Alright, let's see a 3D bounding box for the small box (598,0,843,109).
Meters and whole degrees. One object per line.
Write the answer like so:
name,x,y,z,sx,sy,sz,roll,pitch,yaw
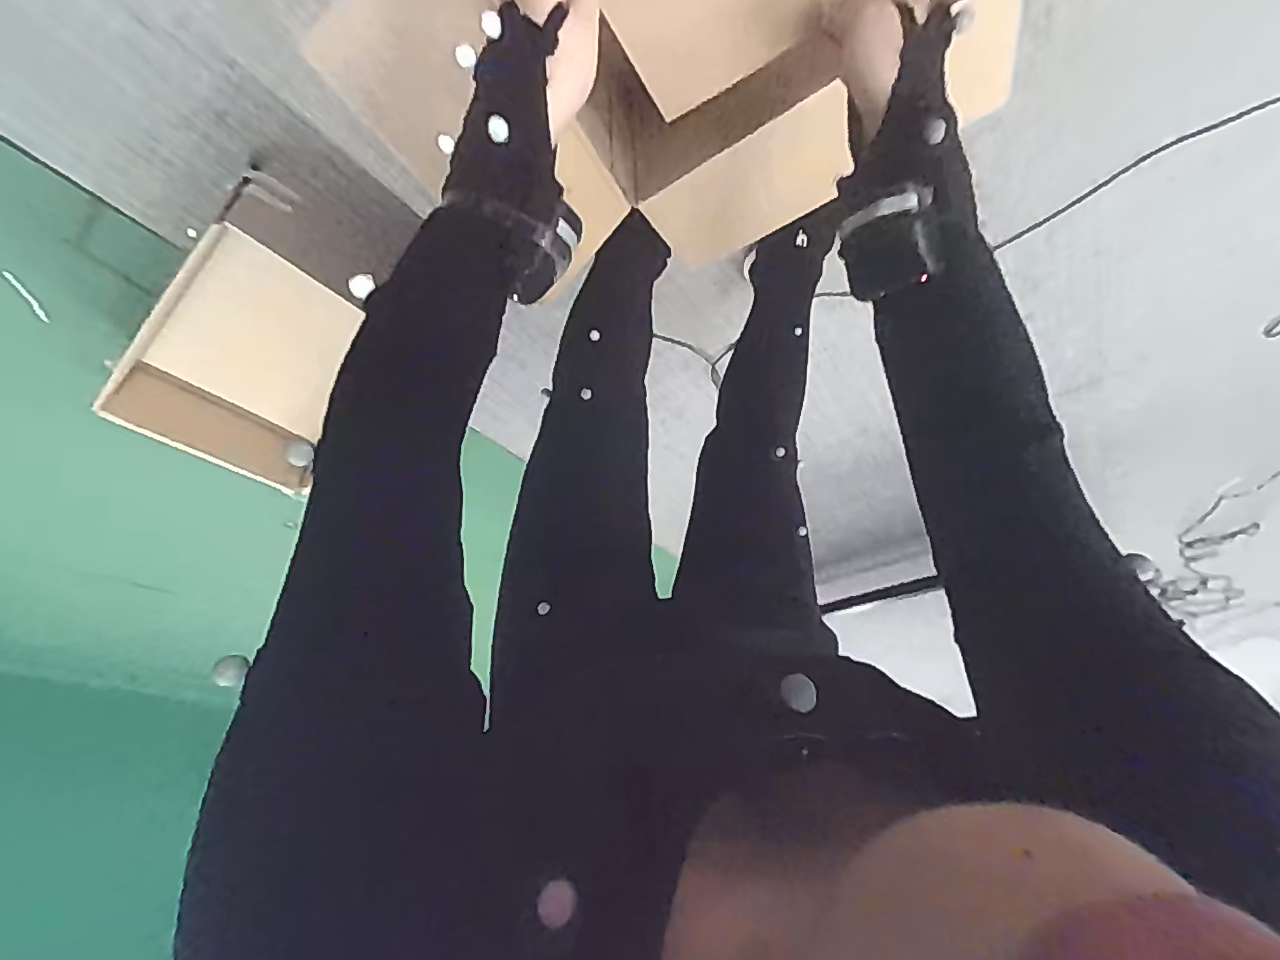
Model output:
small box,0.047,-0.451,0.413,0.179,0.176,0.168,-17,156,28
